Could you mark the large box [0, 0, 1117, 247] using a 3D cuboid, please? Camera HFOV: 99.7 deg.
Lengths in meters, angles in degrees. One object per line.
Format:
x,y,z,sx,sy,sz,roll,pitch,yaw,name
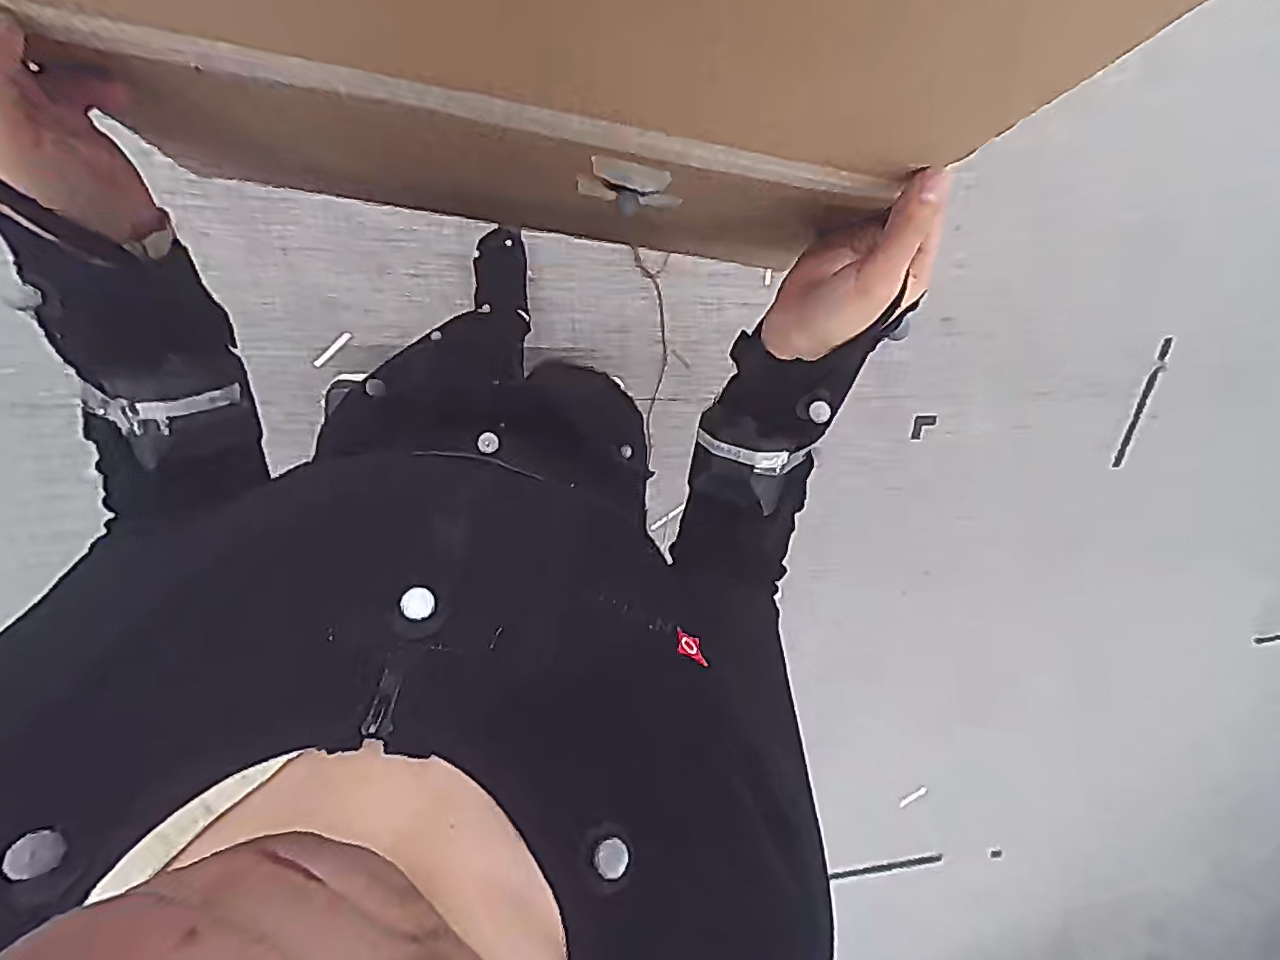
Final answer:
-0.051,-0.324,0.218,0.408,0.320,0.320,4,97,-10,large box
